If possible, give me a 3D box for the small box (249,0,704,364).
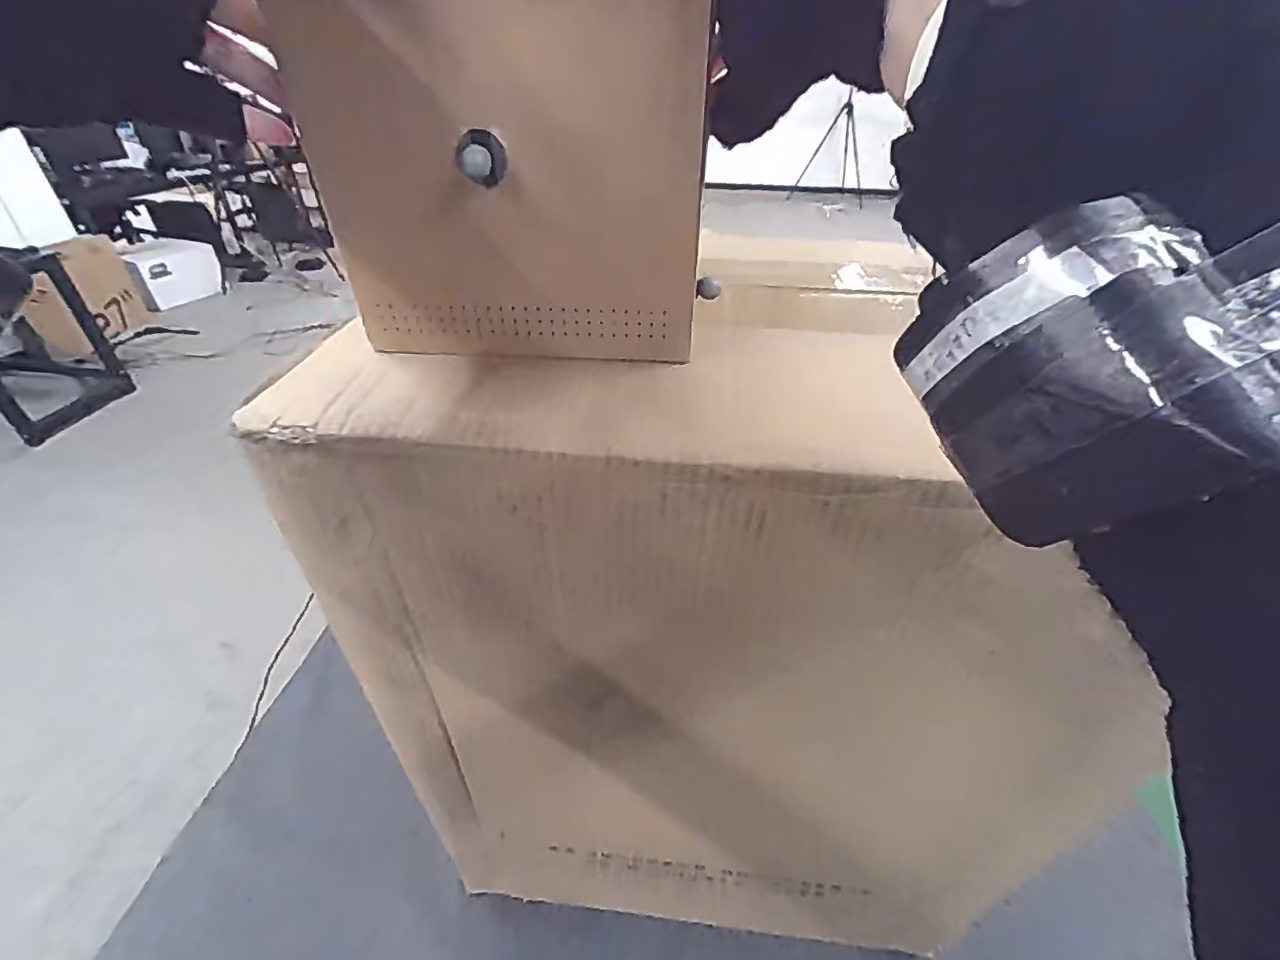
[{"bbox_3d":[-0.058,-0.177,0.308,0.179,0.176,0.168,2,40,4],"label":"small box"}]
